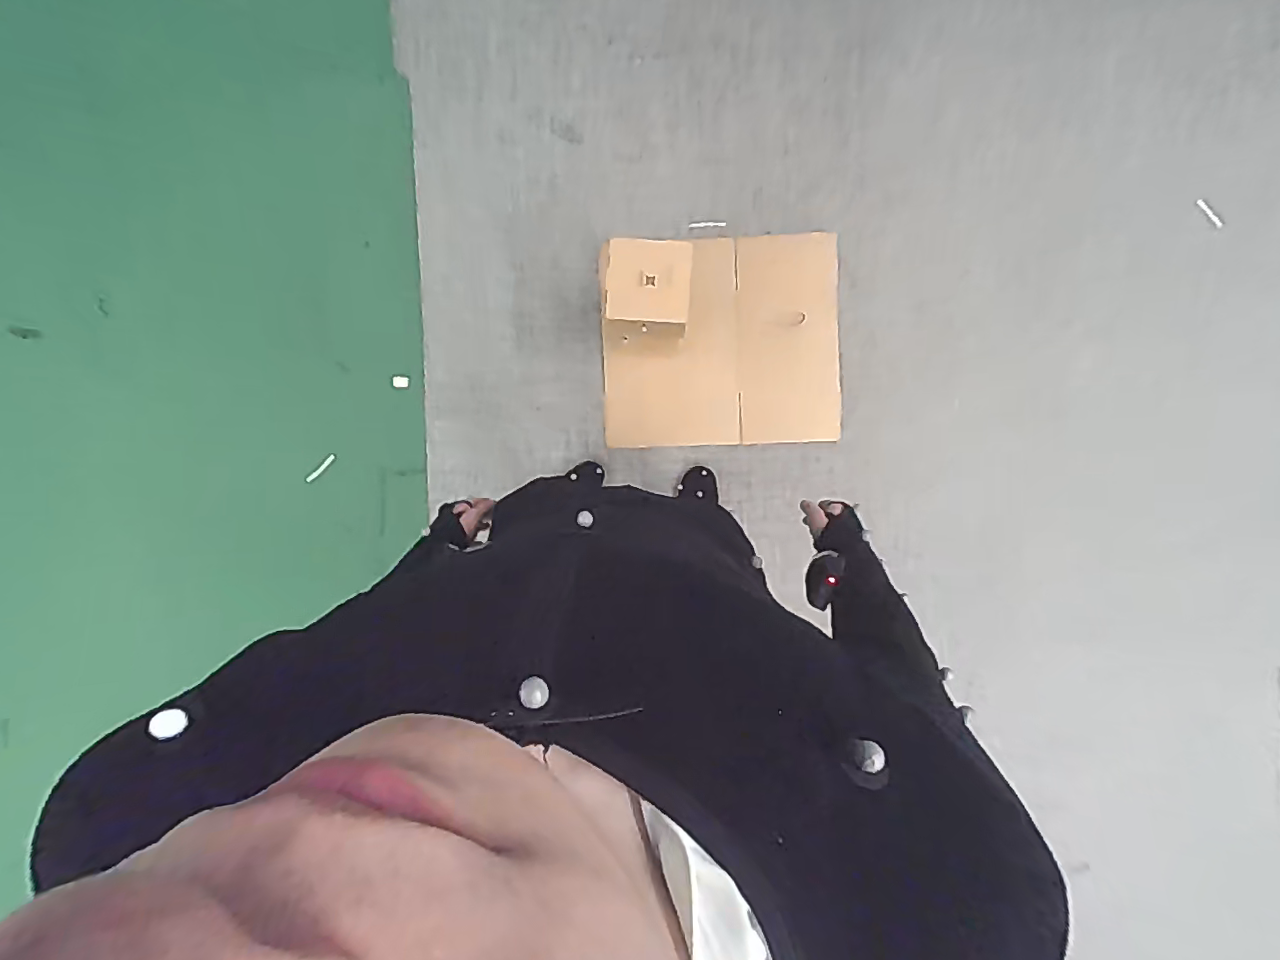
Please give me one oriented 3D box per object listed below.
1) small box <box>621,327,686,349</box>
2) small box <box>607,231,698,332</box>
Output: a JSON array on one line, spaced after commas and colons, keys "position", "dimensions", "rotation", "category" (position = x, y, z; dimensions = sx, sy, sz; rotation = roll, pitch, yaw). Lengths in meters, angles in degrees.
[{"position": [0.045, -0.465, 1.517], "dimensions": [0.179, 0.176, 0.168], "rotation": [3, 94, 2], "category": "small box"}, {"position": [0.030, -0.429, 1.192], "dimensions": [0.179, 0.176, 0.168], "rotation": [5, 95, 3], "category": "small box"}]
